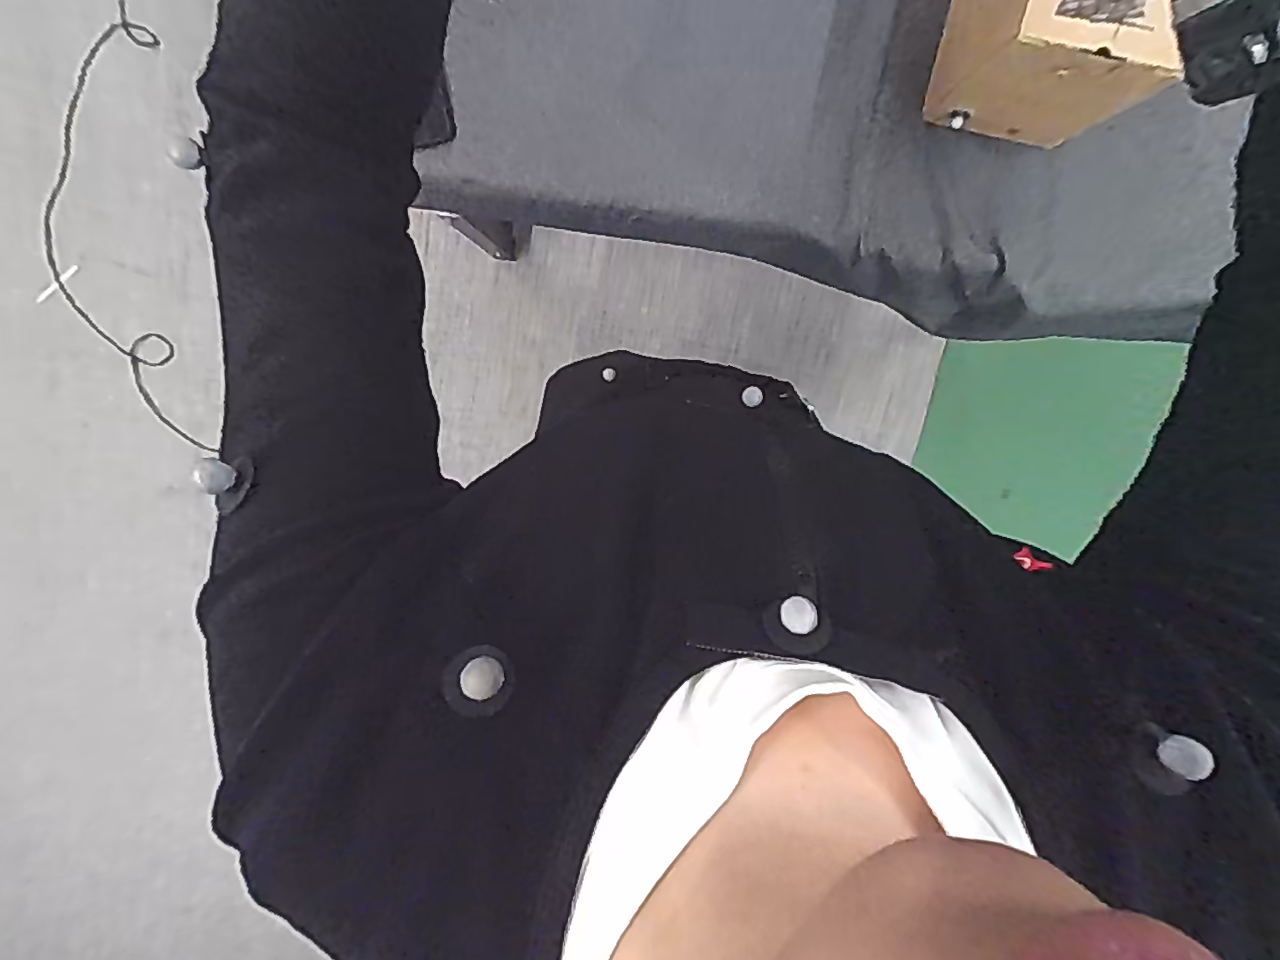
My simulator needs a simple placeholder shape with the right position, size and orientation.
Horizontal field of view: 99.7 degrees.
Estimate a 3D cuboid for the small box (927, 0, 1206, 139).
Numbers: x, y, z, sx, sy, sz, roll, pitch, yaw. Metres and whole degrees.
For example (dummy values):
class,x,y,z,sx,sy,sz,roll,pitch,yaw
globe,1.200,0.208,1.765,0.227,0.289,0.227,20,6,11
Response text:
class,x,y,z,sx,sy,sz,roll,pitch,yaw
small box,0.428,-0.485,0.551,0.168,0.176,0.179,10,101,-4
